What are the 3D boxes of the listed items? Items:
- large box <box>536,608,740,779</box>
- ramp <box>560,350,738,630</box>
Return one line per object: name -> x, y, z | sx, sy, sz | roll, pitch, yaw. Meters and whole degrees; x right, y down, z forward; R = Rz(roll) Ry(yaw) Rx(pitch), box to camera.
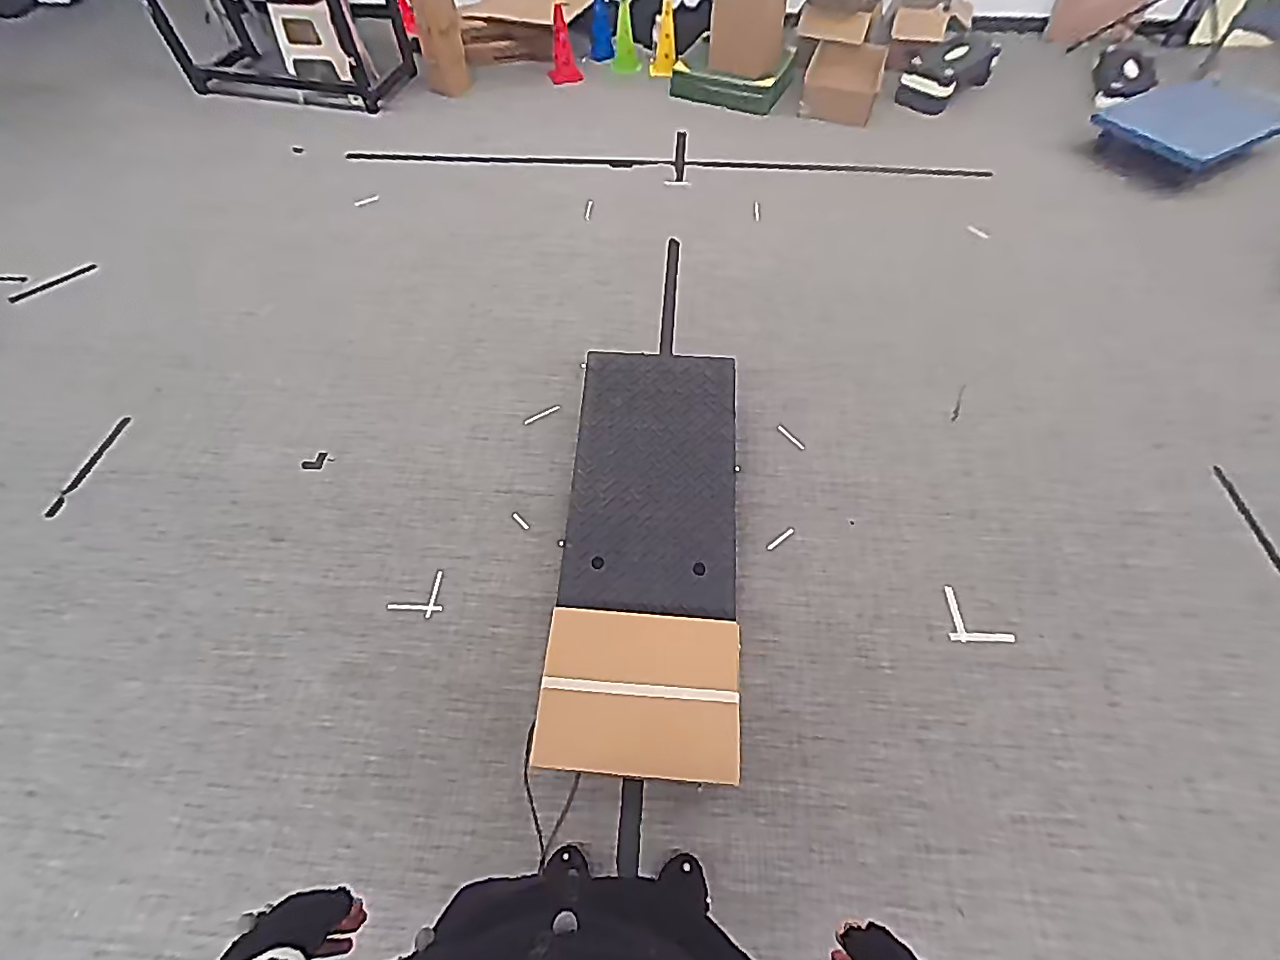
large box -> 0.007, 0.496, 1.242 | 0.408, 0.320, 0.320 | 4, 61, 3
ramp -> 0.046, 0.040, 1.614 | 0.509, 0.206, 0.991 | 2, 58, 0
